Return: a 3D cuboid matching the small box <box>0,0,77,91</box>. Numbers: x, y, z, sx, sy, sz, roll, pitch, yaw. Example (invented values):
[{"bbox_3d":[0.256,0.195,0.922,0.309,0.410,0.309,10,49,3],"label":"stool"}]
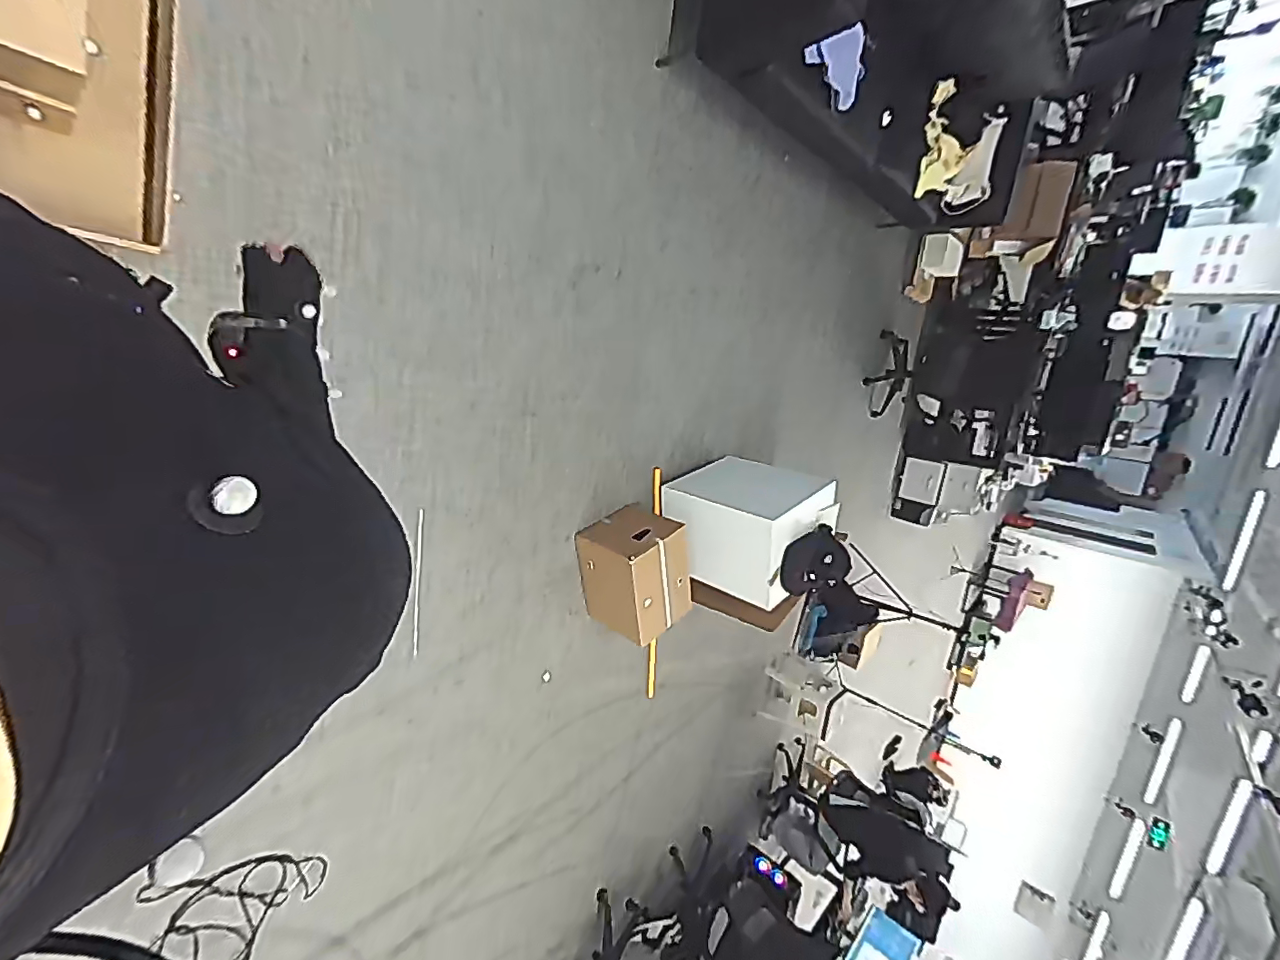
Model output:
[{"bbox_3d":[-0.851,-0.638,0.688,0.179,0.176,0.168,-3,103,-50],"label":"small box"}]
